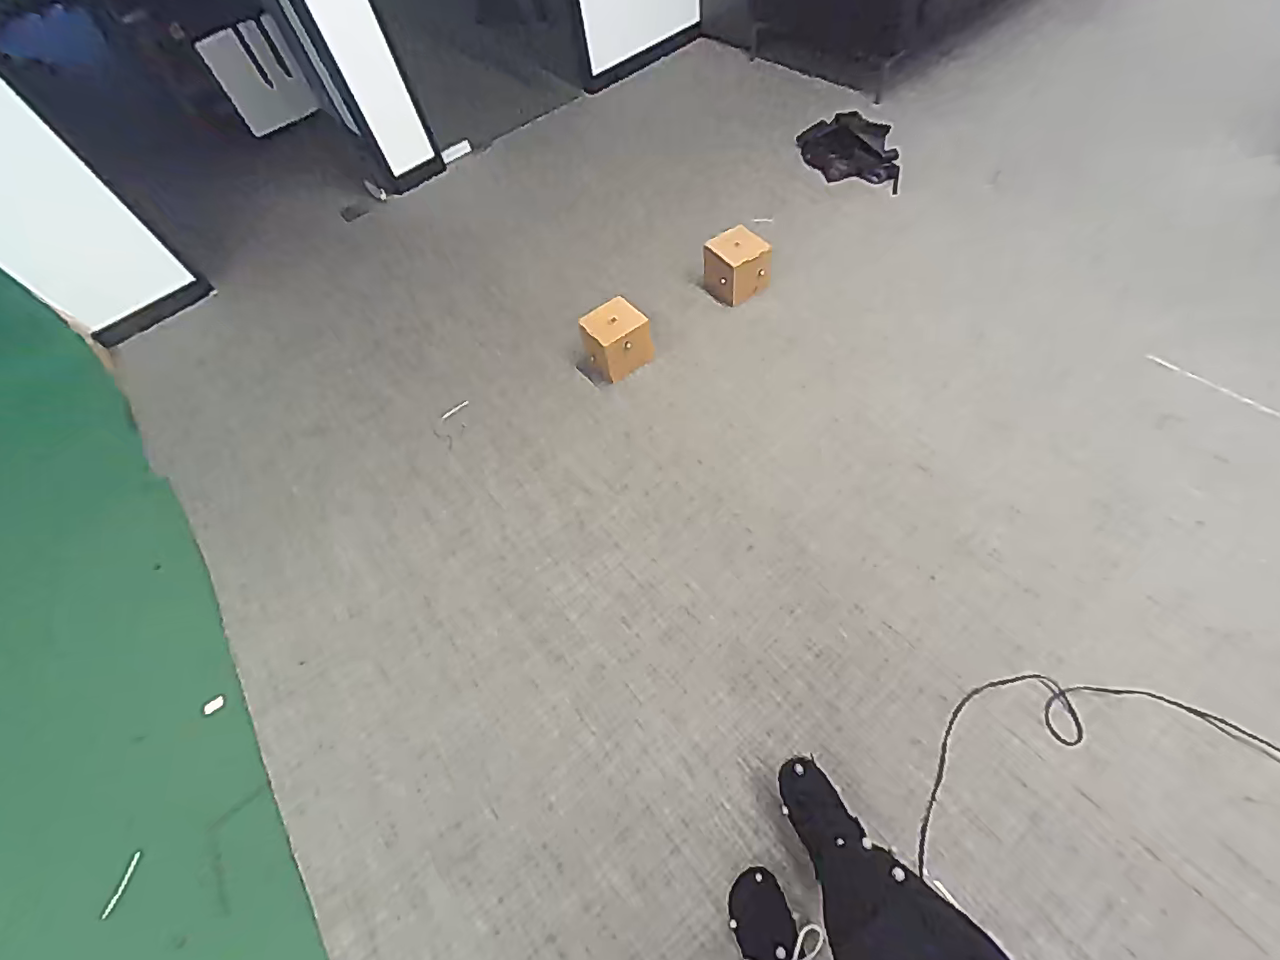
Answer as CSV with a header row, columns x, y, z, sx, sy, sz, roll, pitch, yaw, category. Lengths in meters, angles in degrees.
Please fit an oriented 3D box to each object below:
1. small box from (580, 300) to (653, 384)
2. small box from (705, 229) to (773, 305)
x,y,z,sx,sy,sz,roll,pitch,yaw,category
-0.071,-0.455,1.792,0.179,0.176,0.168,-35,60,-13,small box
0.348,-0.745,1.913,0.168,0.176,0.179,-31,58,-13,small box
